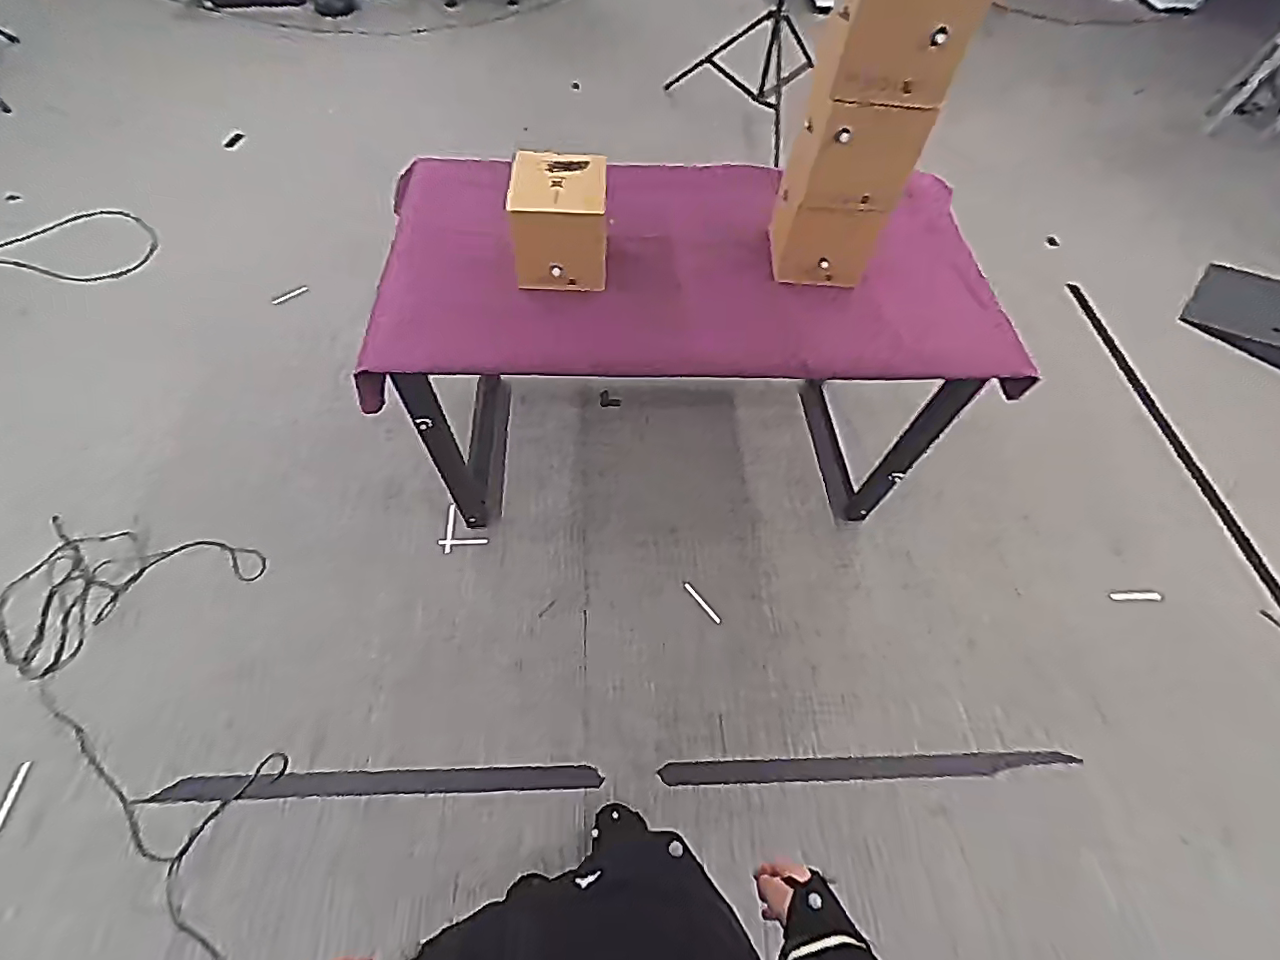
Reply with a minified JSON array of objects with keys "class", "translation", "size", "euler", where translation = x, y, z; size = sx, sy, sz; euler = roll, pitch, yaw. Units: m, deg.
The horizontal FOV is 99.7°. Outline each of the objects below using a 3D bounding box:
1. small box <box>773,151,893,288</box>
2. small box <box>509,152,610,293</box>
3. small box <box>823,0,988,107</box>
[{"class":"small box","translation":[0.363,-0.505,1.054],"size":[0.168,0.176,0.179],"euler":[4,60,0]},{"class":"small box","translation":[-0.142,-0.478,1.012],"size":[0.168,0.176,0.179],"euler":[1,61,-3]},{"class":"small box","translation":[0.374,-0.665,0.769],"size":[0.168,0.176,0.179],"euler":[6,58,0]}]
